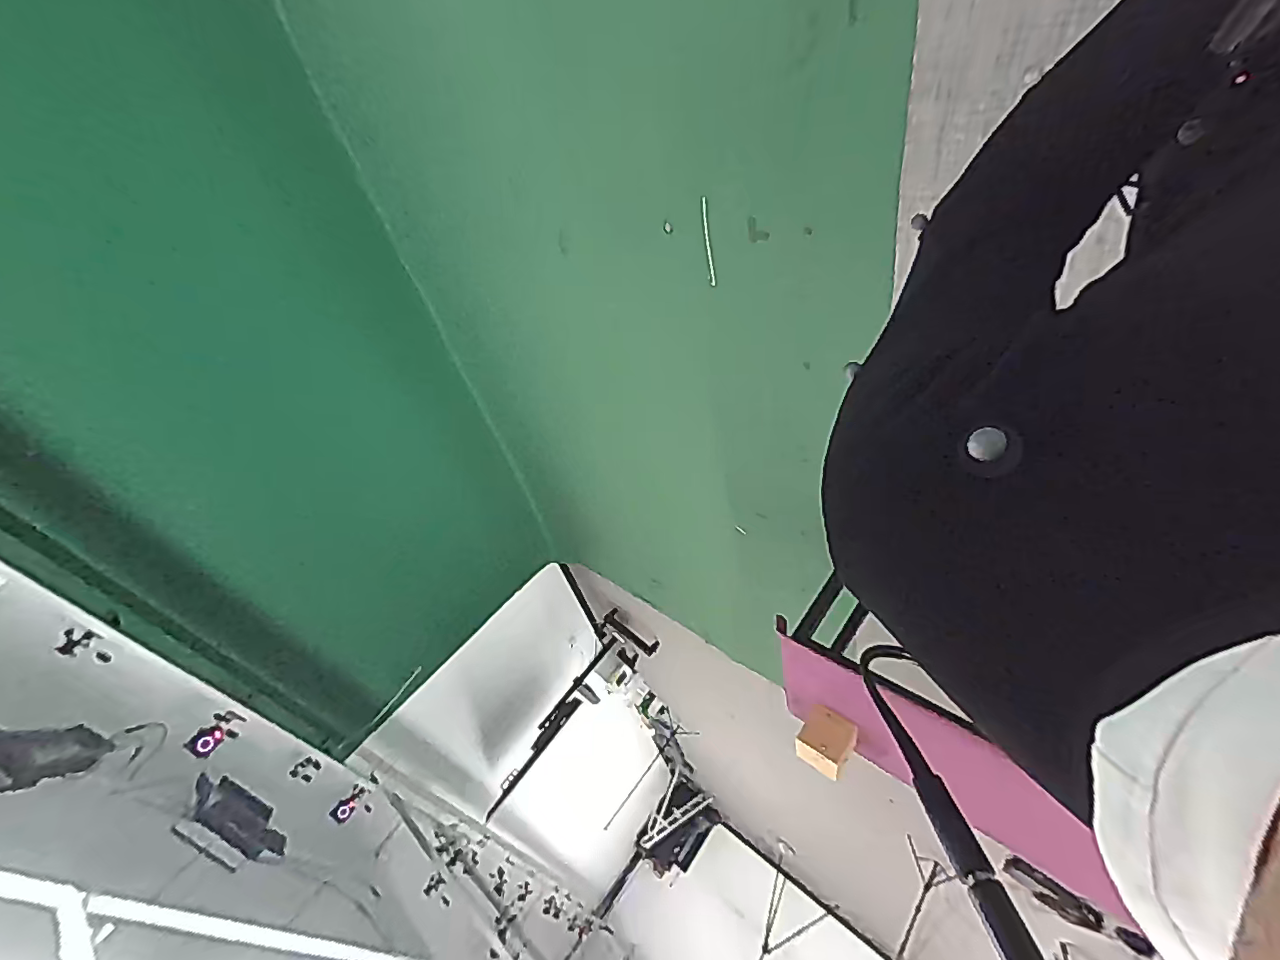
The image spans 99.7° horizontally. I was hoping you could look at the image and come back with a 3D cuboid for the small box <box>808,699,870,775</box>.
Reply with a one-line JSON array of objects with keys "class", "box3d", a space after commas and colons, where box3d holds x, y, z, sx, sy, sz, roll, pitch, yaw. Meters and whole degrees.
[{"class": "small box", "box3d": [0.754, 0.970, 2.046, 0.168, 0.176, 0.179, 23, 146, 36]}]
